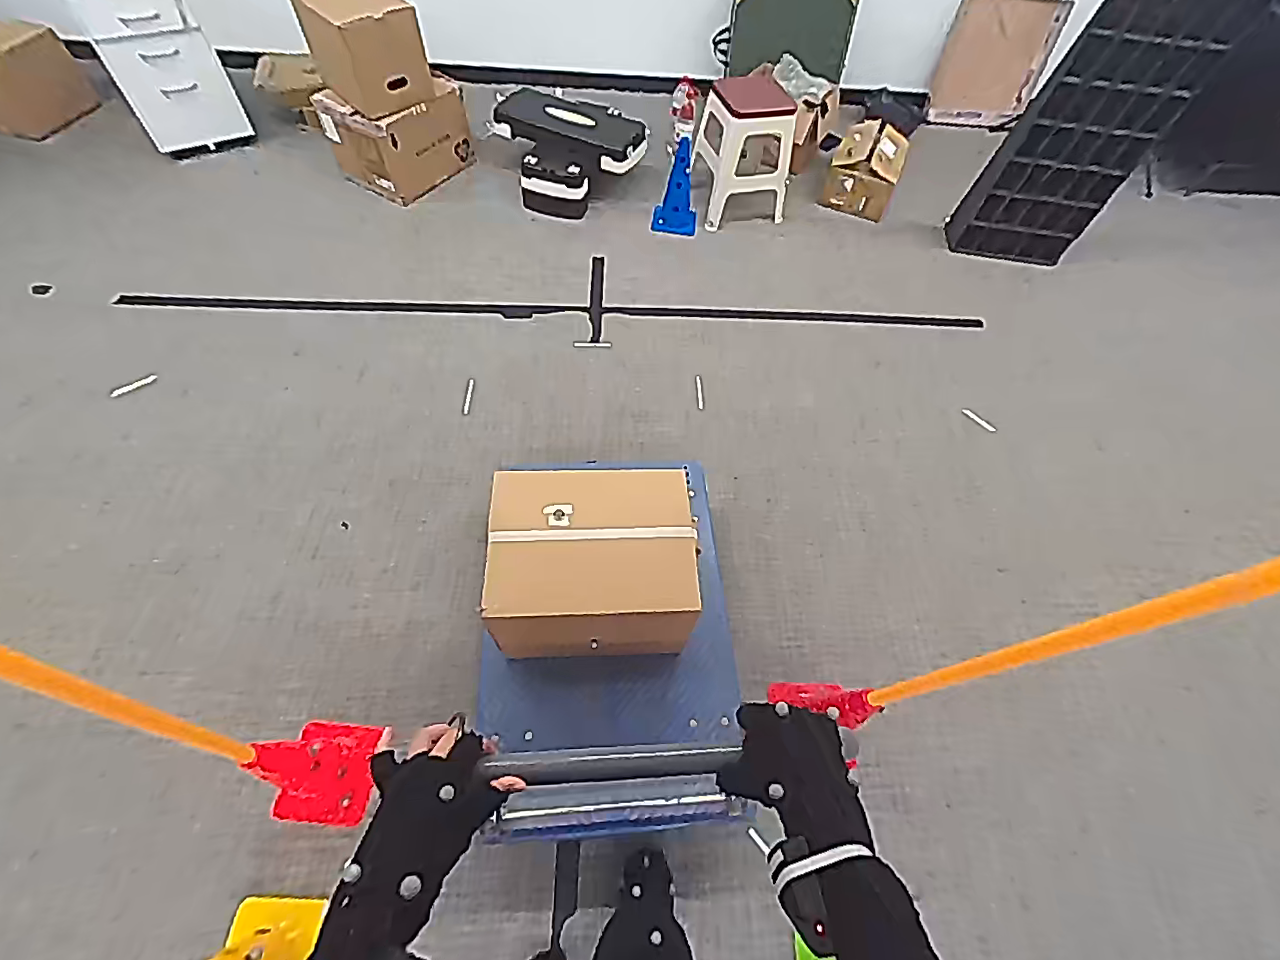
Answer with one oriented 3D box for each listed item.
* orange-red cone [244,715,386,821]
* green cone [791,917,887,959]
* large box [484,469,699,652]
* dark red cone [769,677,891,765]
[{"bbox_3d":[-0.688,0.557,1.088,0.198,0.360,0.199,8,56,-1],"label":"orange-red cone"},{"bbox_3d":[0.425,0.921,0.946,0.202,0.368,0.200,5,57,-3],"label":"green cone"},{"bbox_3d":[-0.102,0.188,1.199,0.408,0.320,0.320,-1,58,-4],"label":"large box"},{"bbox_3d":[0.440,0.503,1.193,0.201,0.394,0.202,3,58,-5],"label":"dark red cone"}]
